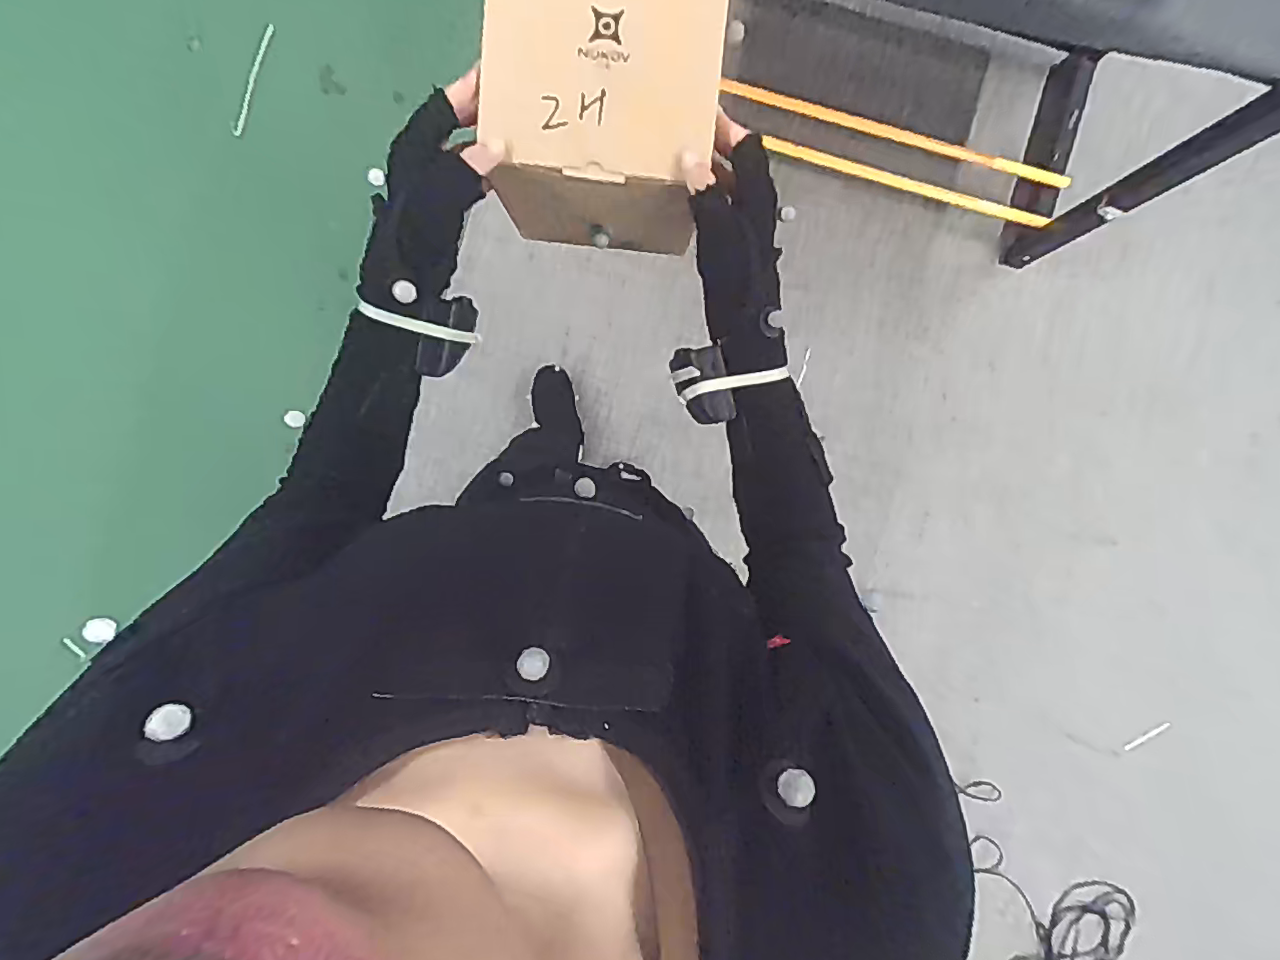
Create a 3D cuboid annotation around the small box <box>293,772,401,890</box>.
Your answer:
[{"bbox_3d":[-0.746,0.897,1.400,0.168,0.176,0.179,18,91,-1],"label":"small box"}]
